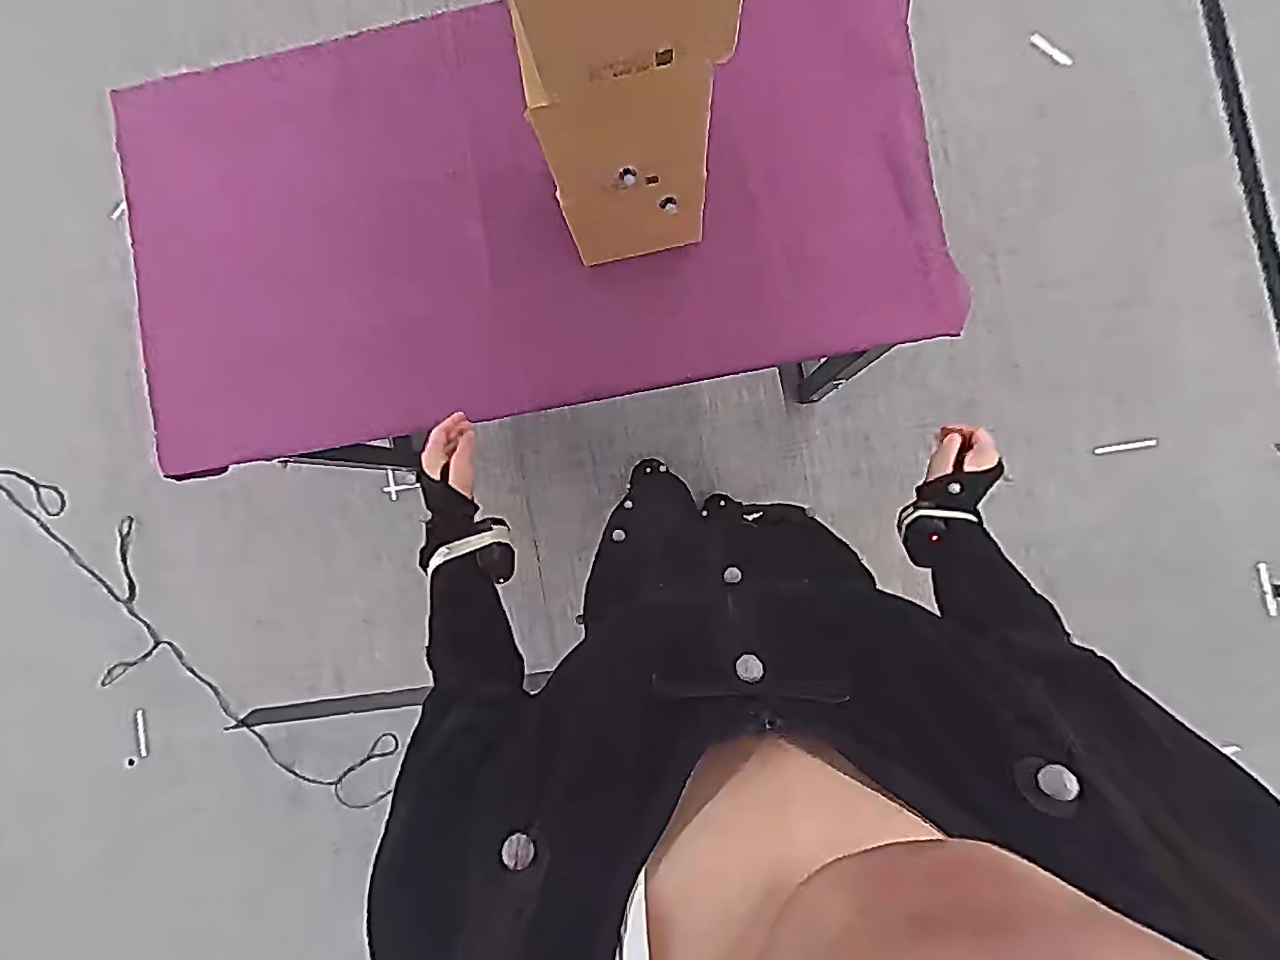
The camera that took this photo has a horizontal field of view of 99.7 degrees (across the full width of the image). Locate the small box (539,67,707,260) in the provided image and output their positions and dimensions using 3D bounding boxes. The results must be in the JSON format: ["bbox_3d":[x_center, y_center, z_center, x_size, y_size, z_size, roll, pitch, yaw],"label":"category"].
[{"bbox_3d":[-0.015,-0.416,0.709,0.179,0.176,0.168,-11,87,5],"label":"small box"}]

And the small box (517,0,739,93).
[{"bbox_3d":[-0.022,-0.430,0.382,0.168,0.176,0.179,-11,87,4],"label":"small box"}]
